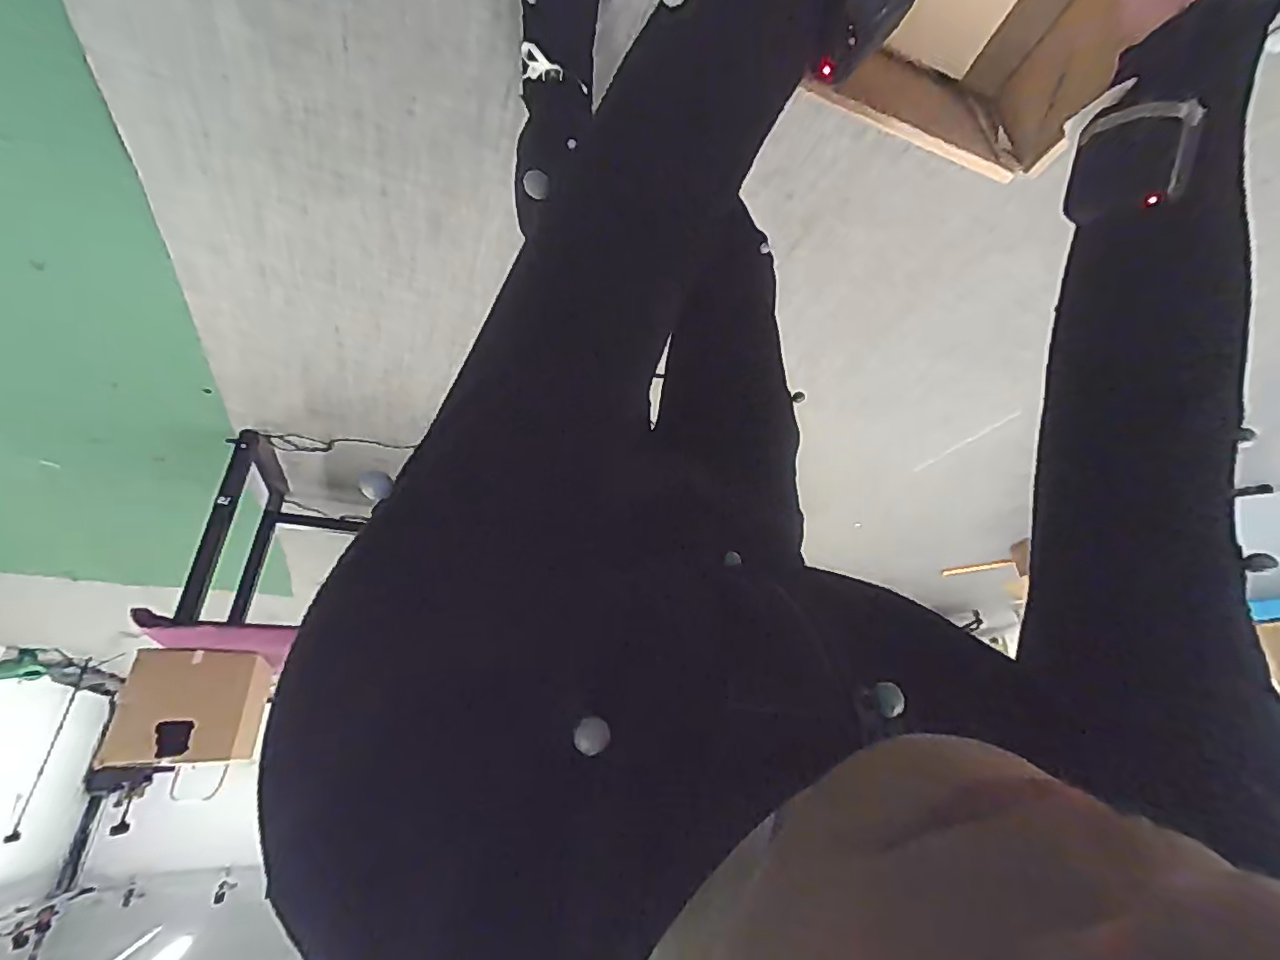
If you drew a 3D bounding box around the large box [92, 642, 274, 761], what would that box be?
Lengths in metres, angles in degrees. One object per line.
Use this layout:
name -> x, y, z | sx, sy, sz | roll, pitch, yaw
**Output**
large box -> -1.414, 0.720, 1.730 | 0.320, 0.320, 0.408 | 9, 151, -23
